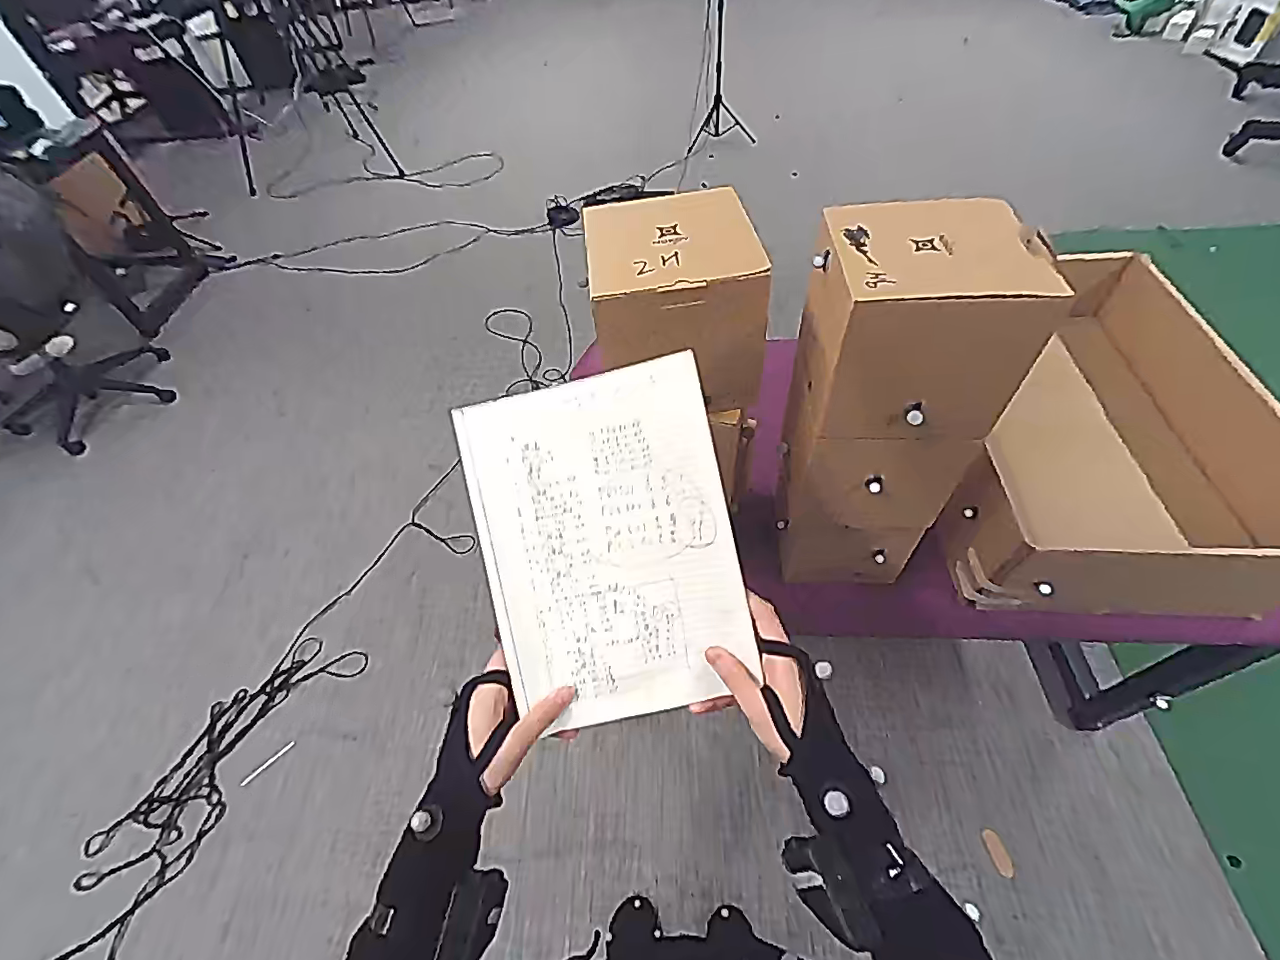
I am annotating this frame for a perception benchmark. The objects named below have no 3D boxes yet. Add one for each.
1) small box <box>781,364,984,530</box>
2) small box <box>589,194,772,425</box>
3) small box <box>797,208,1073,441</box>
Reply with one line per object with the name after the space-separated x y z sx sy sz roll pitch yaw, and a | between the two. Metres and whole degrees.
0.282 -0.050 0.676 0.179 0.176 0.168 1 51 6 | small box
0.038 -0.186 0.599 0.168 0.176 0.179 -8 52 1 | small box
0.270 -0.153 0.548 0.179 0.176 0.168 1 50 5 | small box
